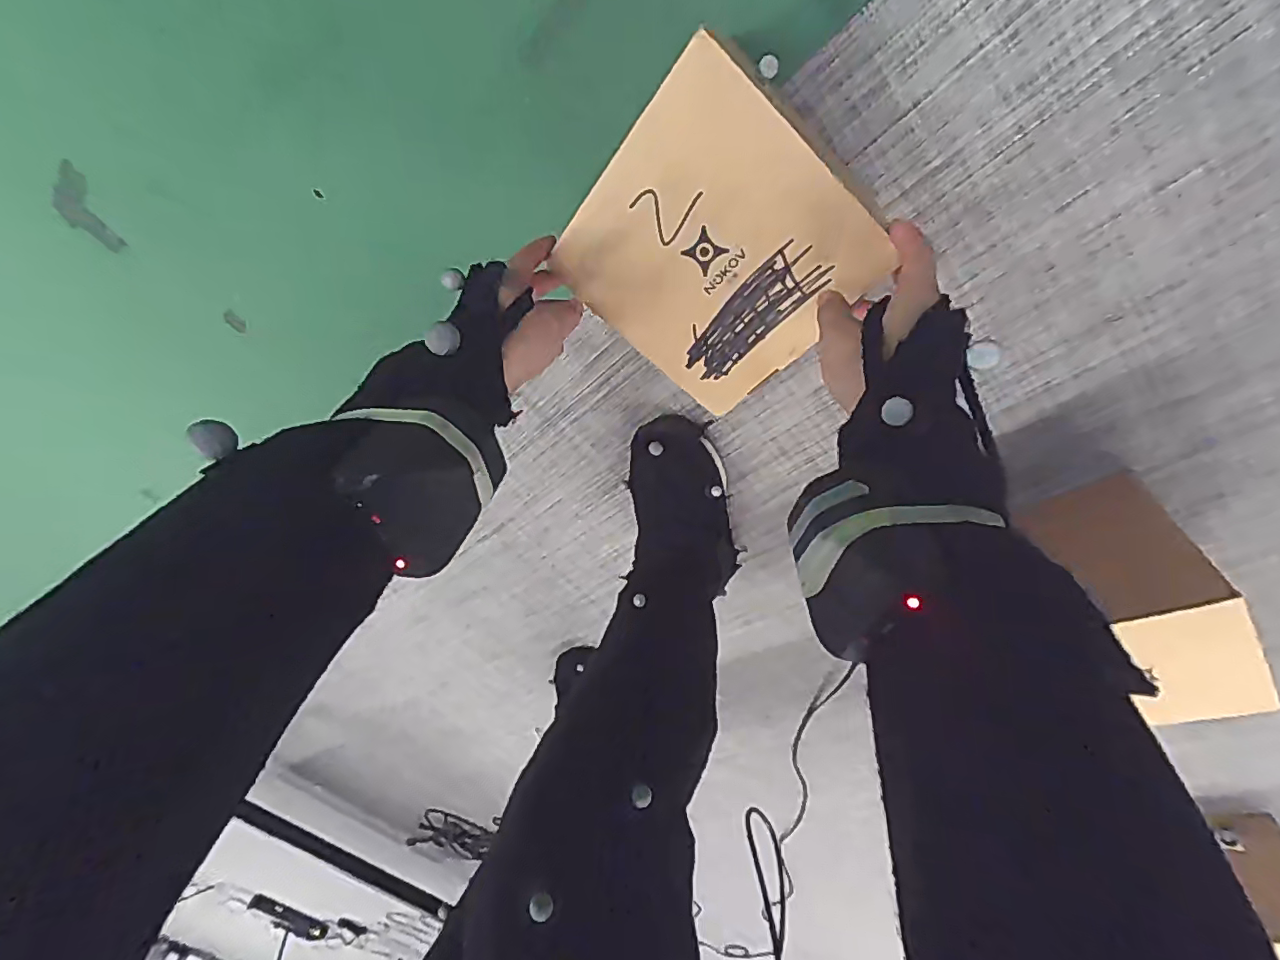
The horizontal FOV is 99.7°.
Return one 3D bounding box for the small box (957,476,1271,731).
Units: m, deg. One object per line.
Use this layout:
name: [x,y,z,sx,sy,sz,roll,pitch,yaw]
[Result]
small box: [0.464,0.125,0.556,0.179,0.176,0.168,-28,116,32]
